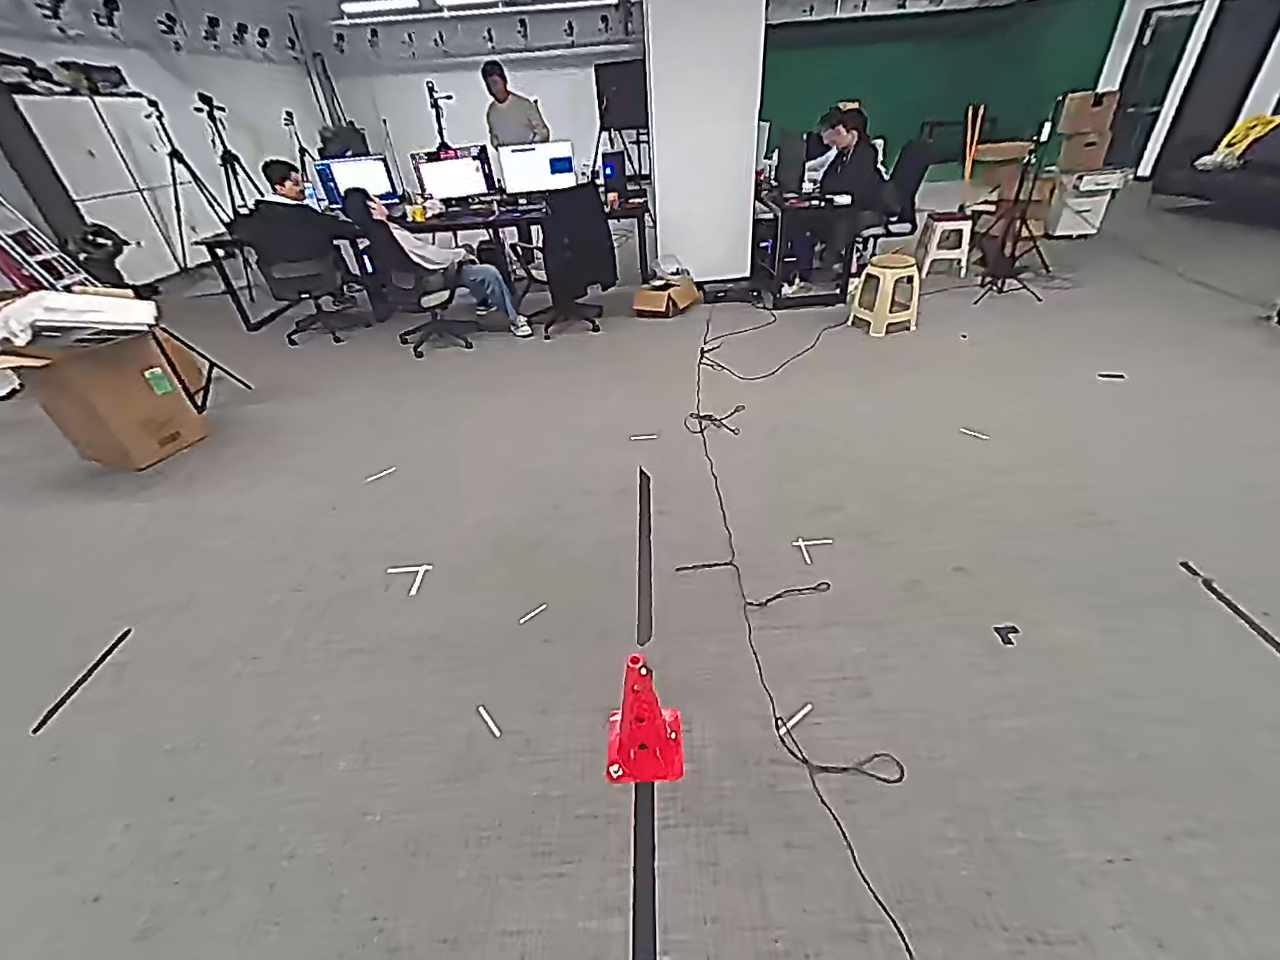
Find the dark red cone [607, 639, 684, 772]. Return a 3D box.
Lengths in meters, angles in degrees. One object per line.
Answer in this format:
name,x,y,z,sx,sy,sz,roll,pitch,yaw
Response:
dark red cone,0.004,0.544,1.348,0.201,0.394,0.202,-3,34,1
